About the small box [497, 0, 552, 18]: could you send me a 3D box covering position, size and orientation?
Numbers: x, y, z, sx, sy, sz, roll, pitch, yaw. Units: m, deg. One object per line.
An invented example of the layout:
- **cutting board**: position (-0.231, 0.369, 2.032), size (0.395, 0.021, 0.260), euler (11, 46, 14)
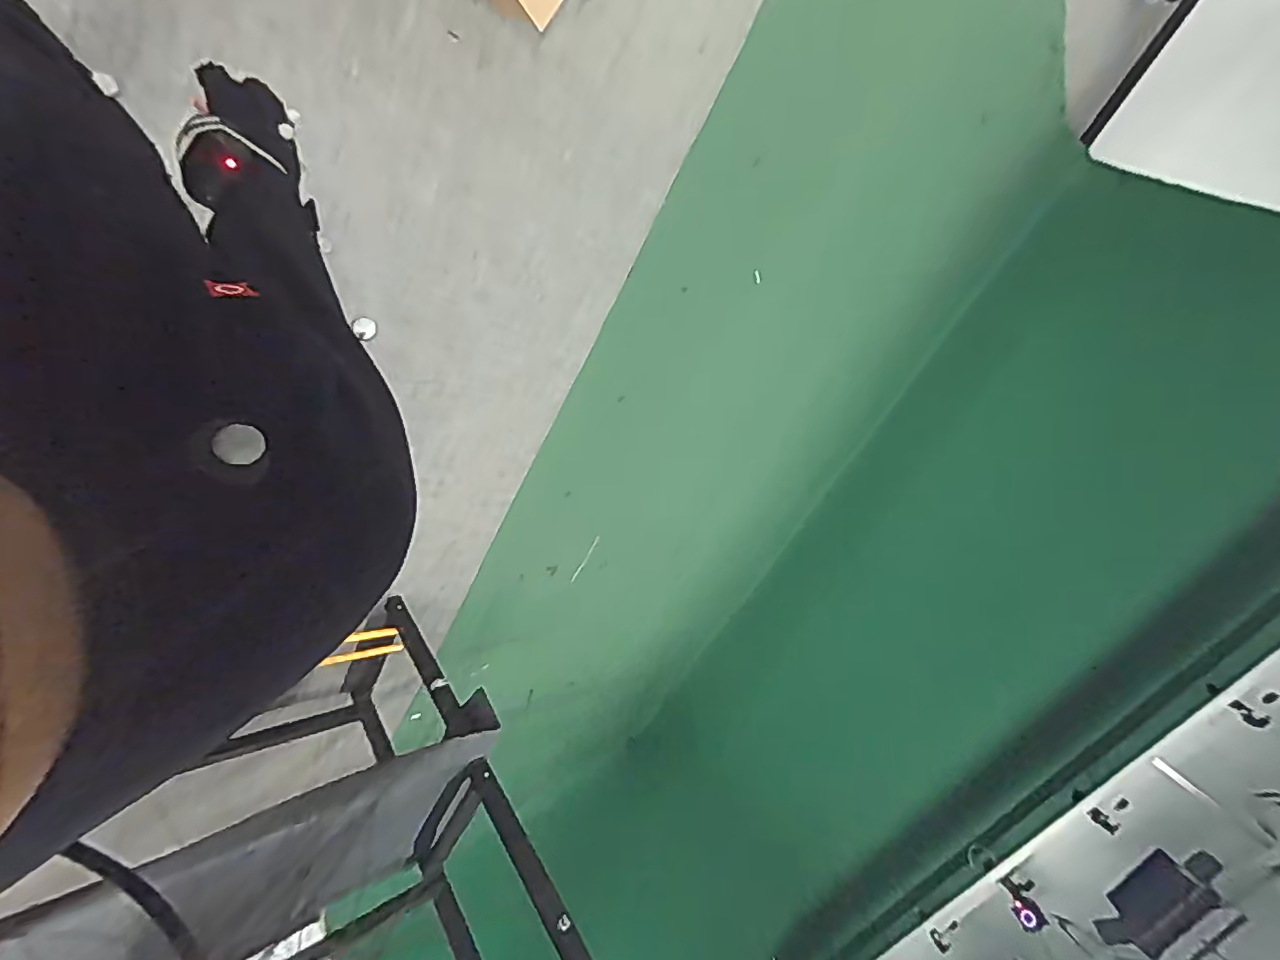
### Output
- **small box**: position (-0.250, -1.082, 1.075), size (0.168, 0.176, 0.179), euler (-50, 150, 9)
